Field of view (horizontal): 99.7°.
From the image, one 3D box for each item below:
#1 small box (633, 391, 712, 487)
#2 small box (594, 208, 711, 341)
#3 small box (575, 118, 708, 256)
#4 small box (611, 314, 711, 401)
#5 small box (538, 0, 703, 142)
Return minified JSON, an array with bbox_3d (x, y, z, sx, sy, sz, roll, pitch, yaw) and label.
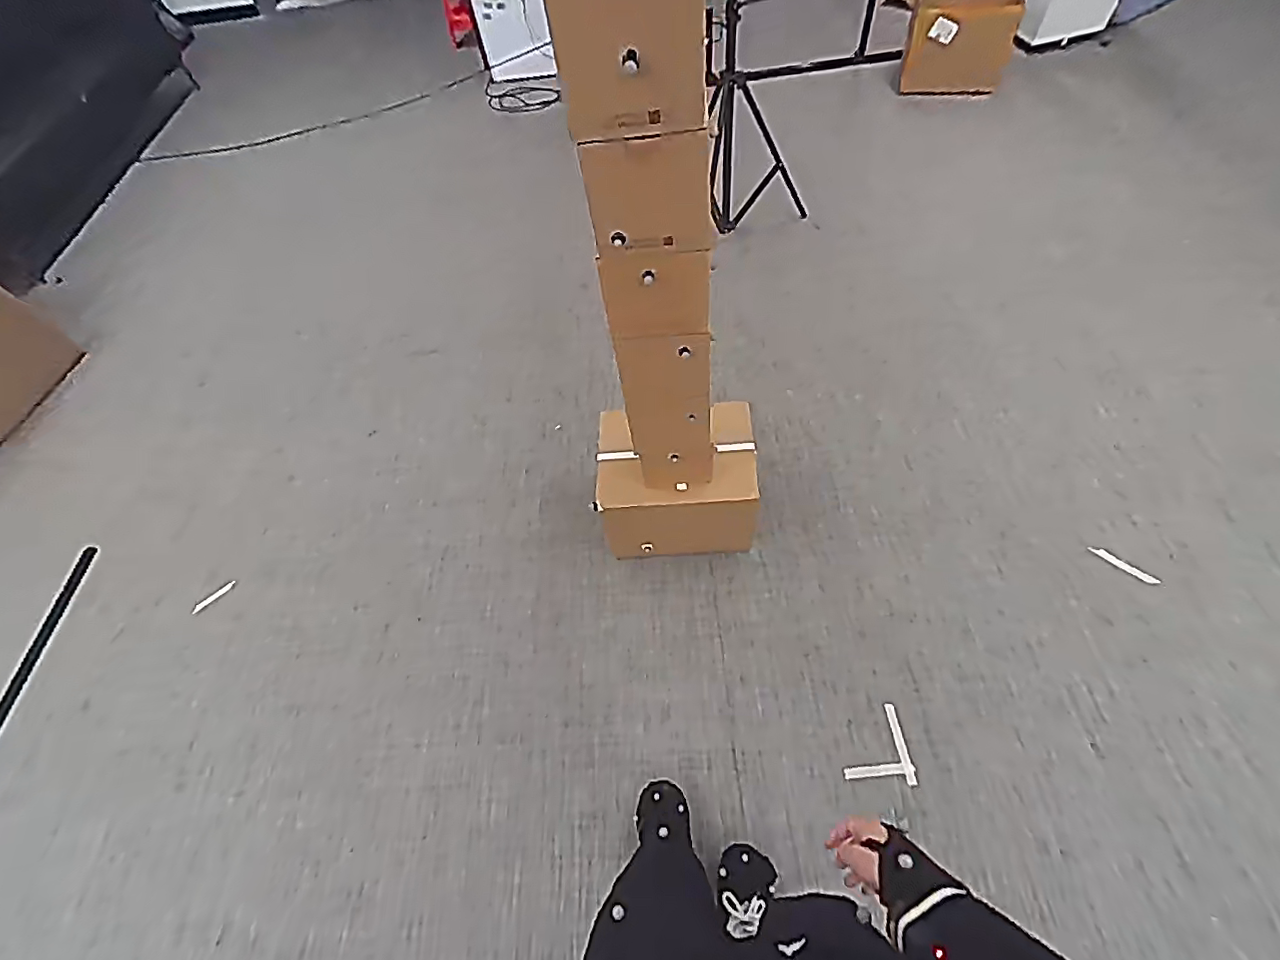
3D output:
[{"bbox_3d":[0.082,-0.095,1.326,0.179,0.176,0.168,-5,59,3],"label":"small box"},{"bbox_3d":[0.027,-0.354,0.913,0.179,0.176,0.168,-3,59,7],"label":"small box"},{"bbox_3d":[0.011,-0.441,0.775,0.168,0.176,0.179,-2,58,6],"label":"small box"},{"bbox_3d":[0.044,-0.269,1.050,0.179,0.176,0.168,-3,58,6],"label":"small box"},{"bbox_3d":[-0.013,-0.524,0.635,0.168,0.176,0.179,-4,59,5],"label":"small box"}]
